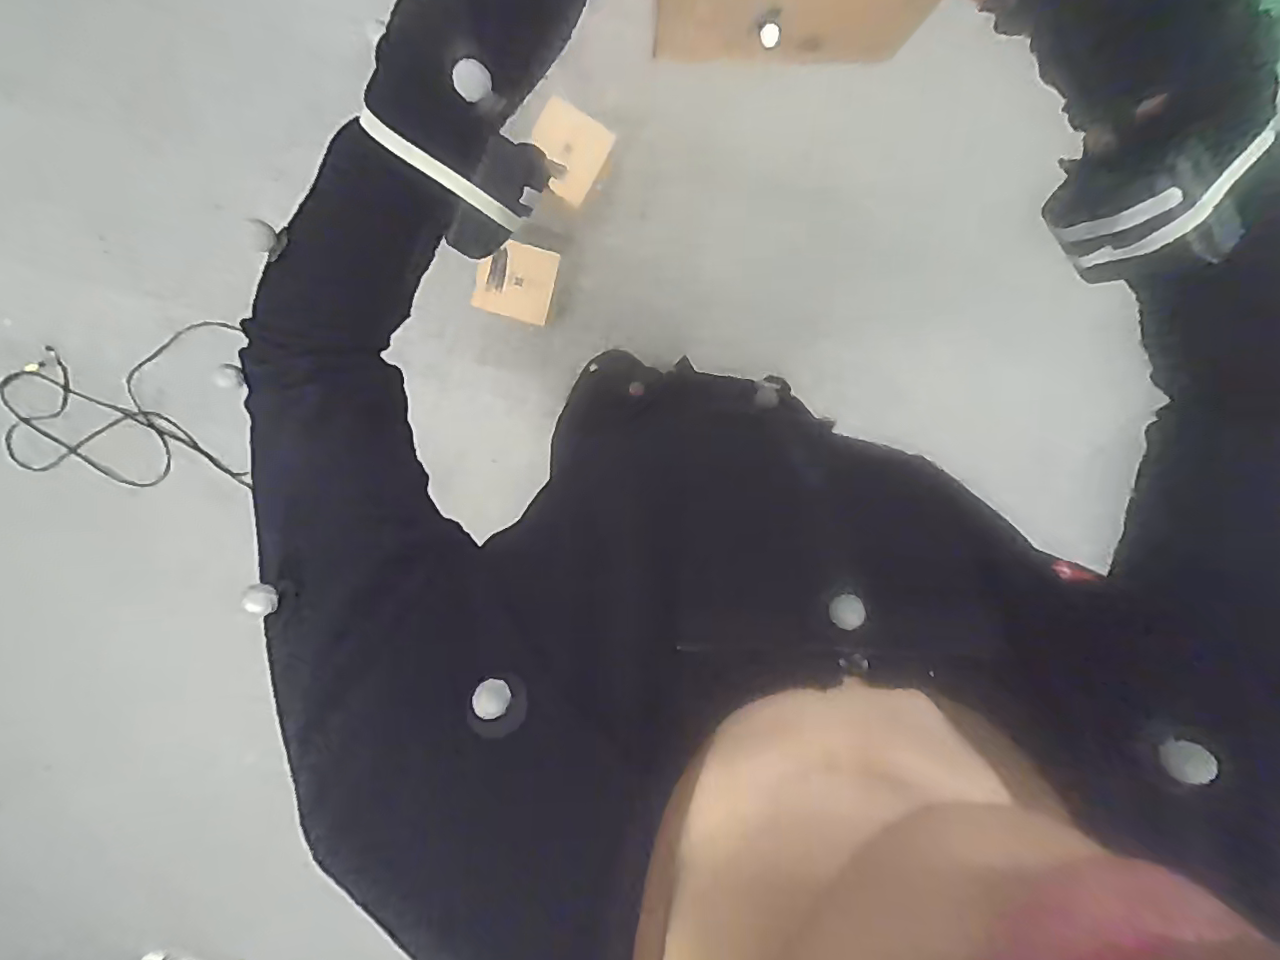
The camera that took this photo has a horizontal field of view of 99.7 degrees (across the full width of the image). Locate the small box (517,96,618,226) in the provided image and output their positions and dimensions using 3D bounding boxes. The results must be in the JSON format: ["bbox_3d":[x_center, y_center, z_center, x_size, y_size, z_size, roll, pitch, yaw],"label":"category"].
[{"bbox_3d":[-0.158,-0.727,1.259,0.168,0.176,0.179,30,97,-6],"label":"small box"}]
